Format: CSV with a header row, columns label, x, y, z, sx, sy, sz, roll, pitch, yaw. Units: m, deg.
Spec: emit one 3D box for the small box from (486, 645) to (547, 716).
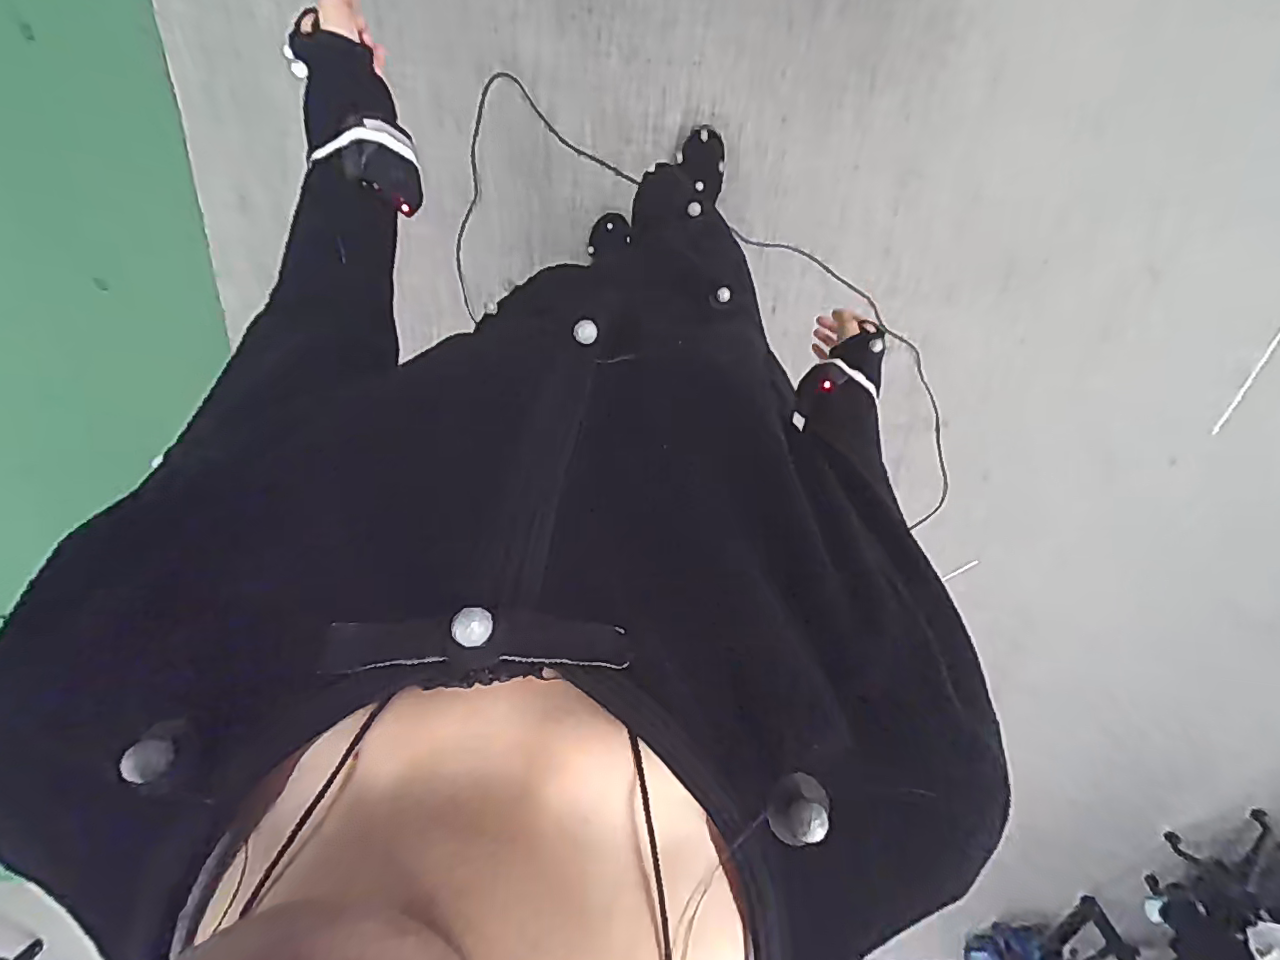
label,x,y,z,sx,sy,sz,roll,pitch,yaw
small box,-0.418,0.688,1.855,0.179,0.176,0.168,2,117,0
